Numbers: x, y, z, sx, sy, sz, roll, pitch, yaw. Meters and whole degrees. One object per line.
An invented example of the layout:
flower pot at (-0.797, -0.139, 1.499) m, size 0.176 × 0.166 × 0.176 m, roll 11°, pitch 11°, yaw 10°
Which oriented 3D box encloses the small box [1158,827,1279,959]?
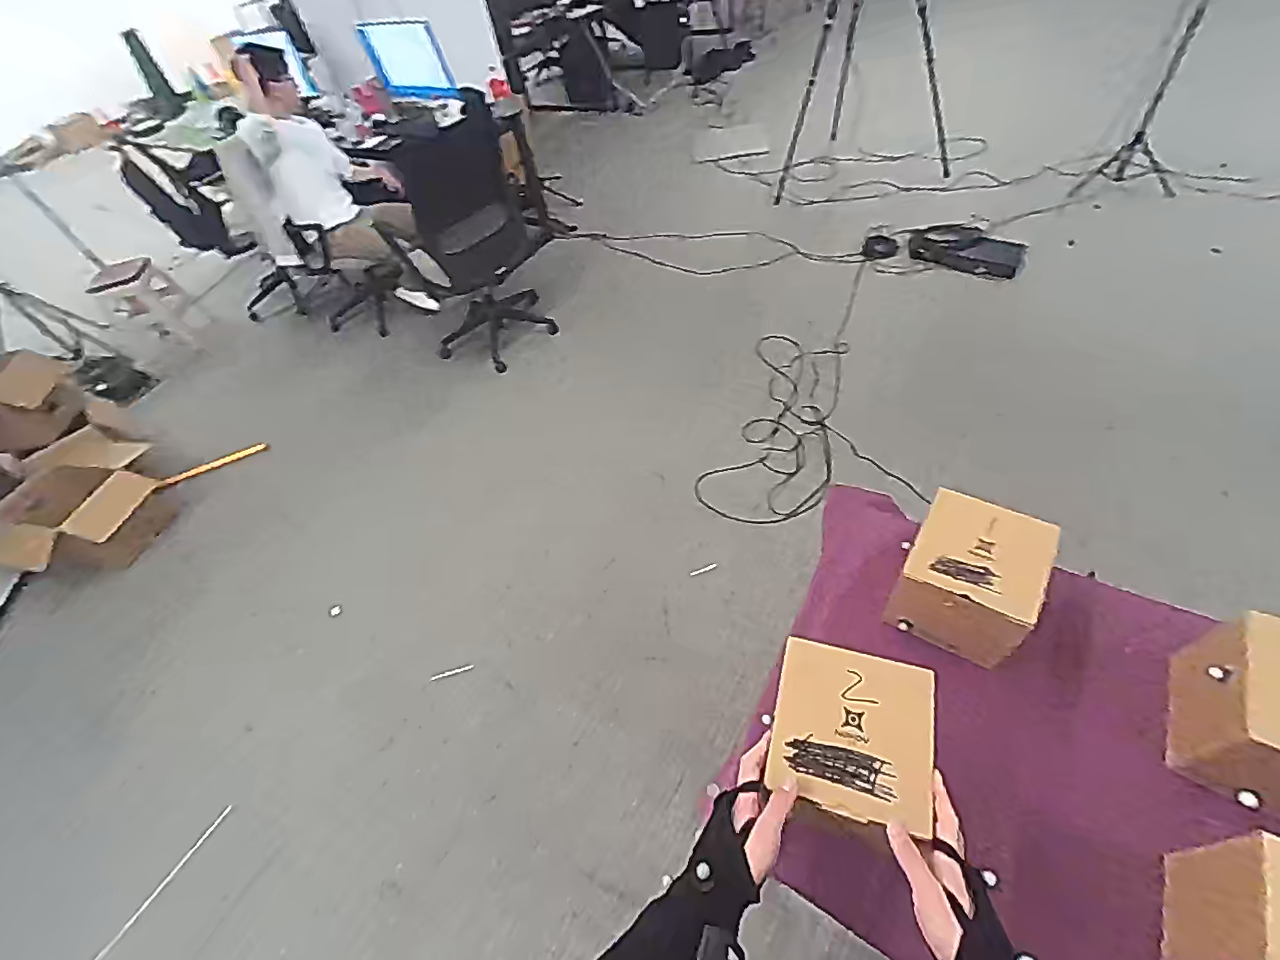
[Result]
small box at (0.655, 0.482, 0.526) m, size 0.168 × 0.176 × 0.179 m, roll 21°, pitch 58°, yaw 25°

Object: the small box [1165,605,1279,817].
small box at (0.790, 0.290, 0.657) m, size 0.168 × 0.176 × 0.179 m, roll 21°, pitch 59°, yaw 27°

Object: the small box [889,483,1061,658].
small box at (0.502, 0.143, 0.833) m, size 0.168 × 0.176 × 0.179 m, roll 24°, pitch 61°, yaw 27°
